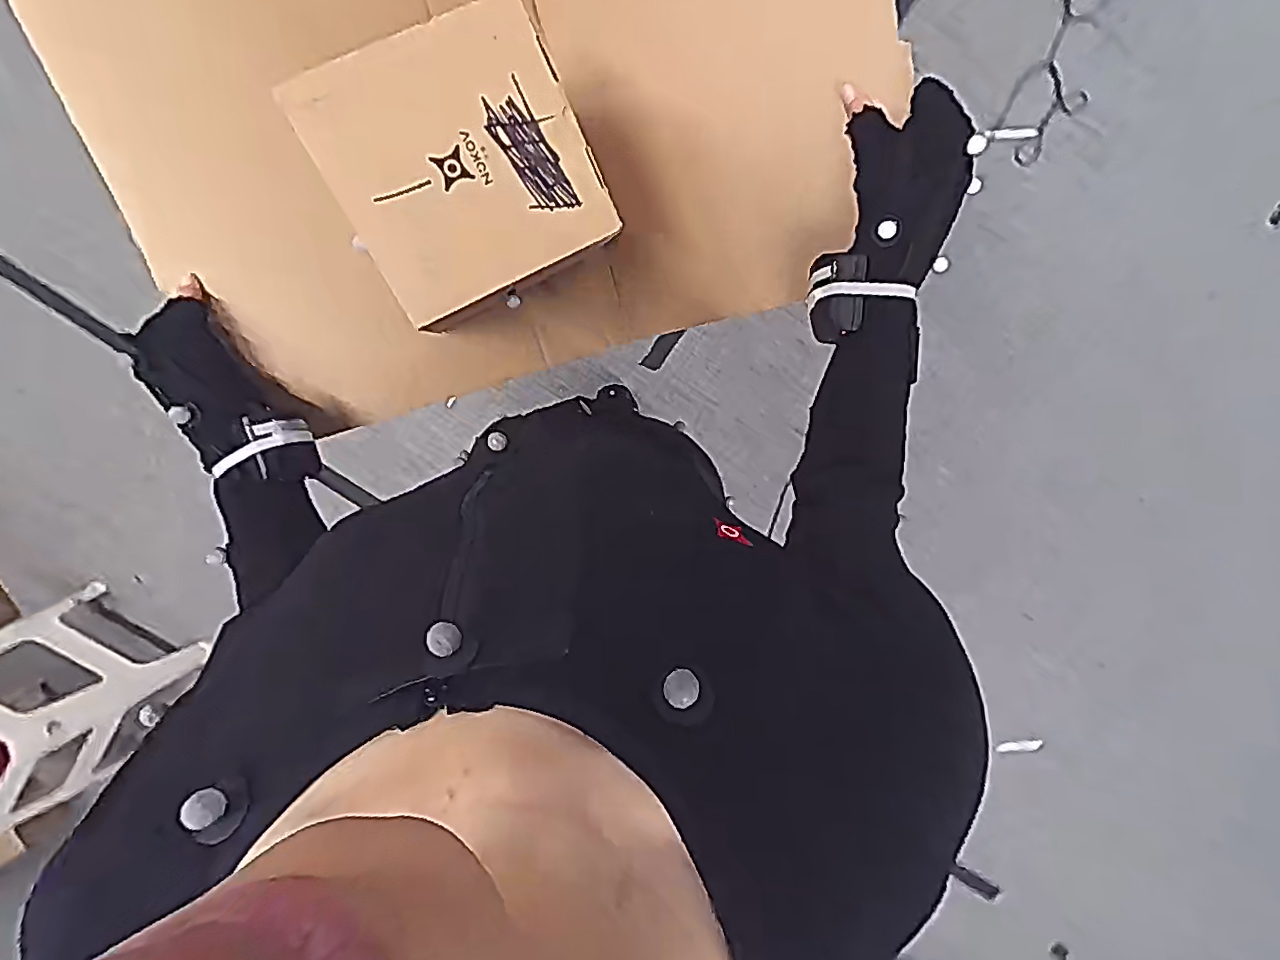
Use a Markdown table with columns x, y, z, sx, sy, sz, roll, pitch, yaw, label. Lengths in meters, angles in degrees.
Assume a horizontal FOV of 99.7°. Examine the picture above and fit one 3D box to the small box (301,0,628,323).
| x | y | z | sx | sy | sz | roll | pitch | yaw | label |
| --- | --- | --- | --- | --- | --- | --- | --- | --- | --- |
| -0.136 | -0.246 | 0.460 | 0.179 | 0.176 | 0.168 | -28 | 110 | -7 | small box |
